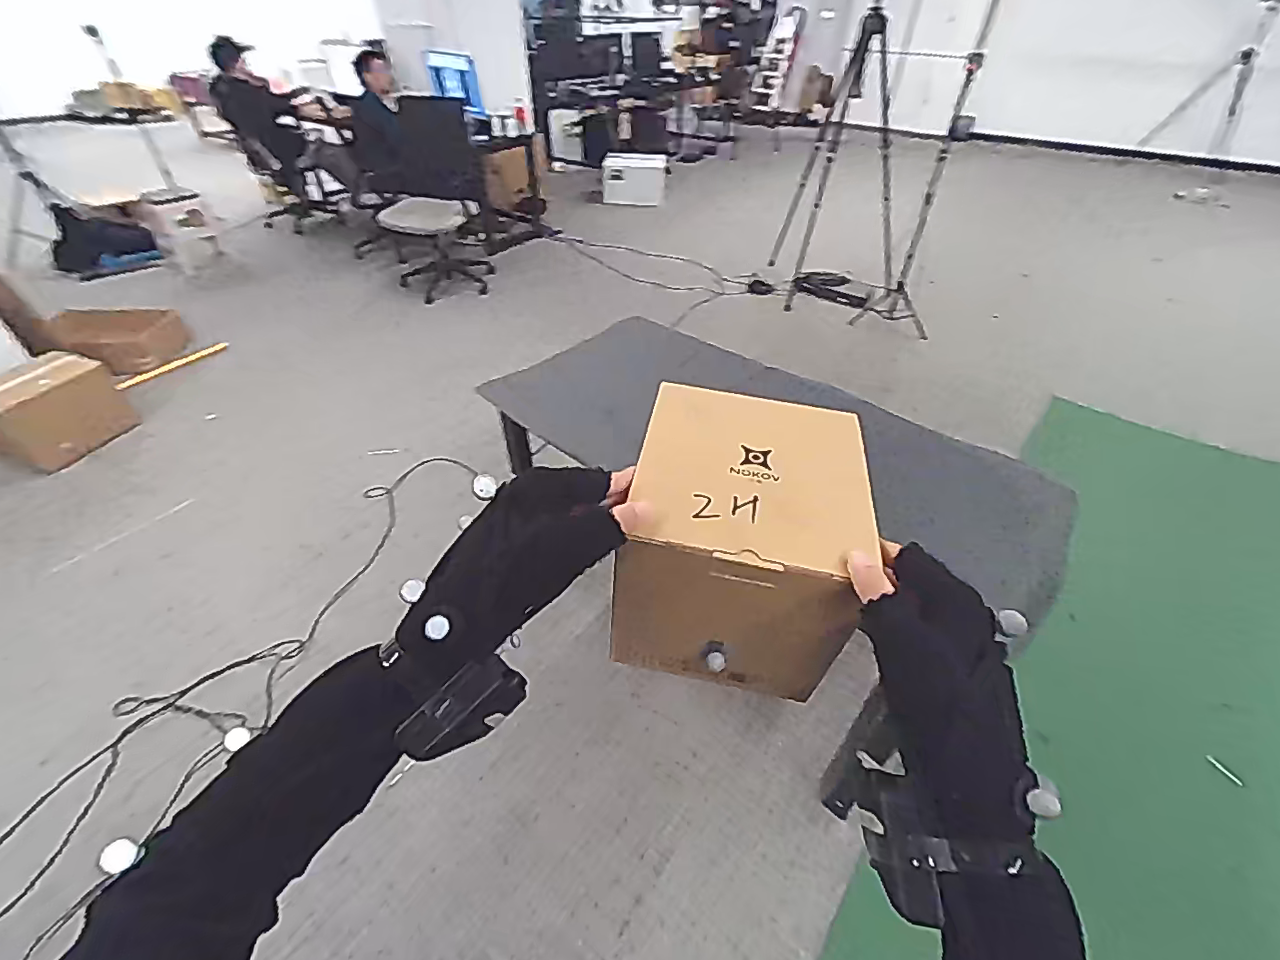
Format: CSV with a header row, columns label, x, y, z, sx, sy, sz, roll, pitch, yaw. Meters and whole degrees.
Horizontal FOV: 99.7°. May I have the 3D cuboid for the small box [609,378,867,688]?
label,x,y,z,sx,sy,sz,roll,pitch,yaw
small box,0.070,0.043,0.453,0.168,0.176,0.179,10,45,5
